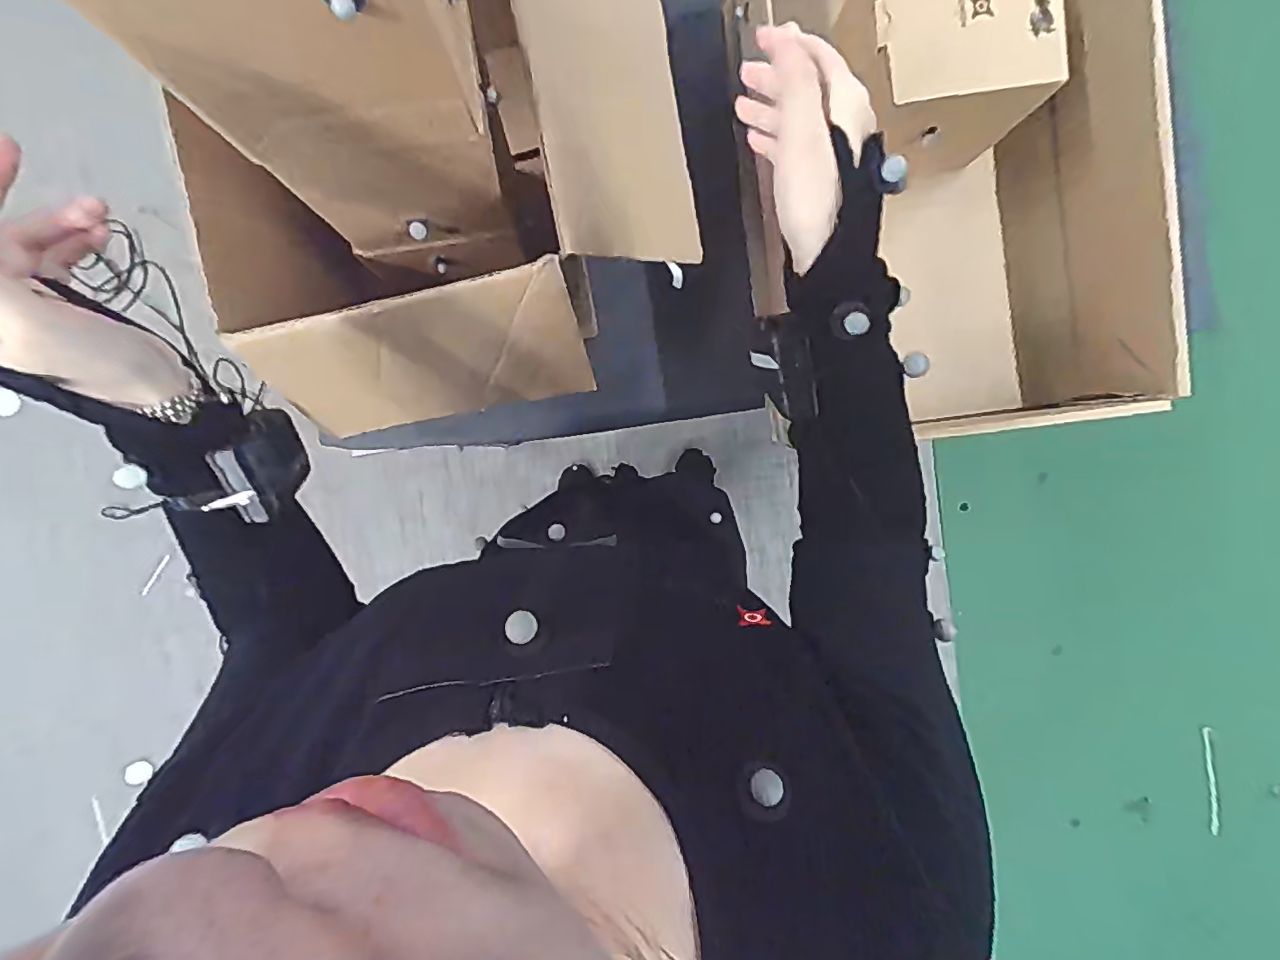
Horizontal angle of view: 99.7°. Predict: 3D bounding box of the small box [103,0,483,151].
[{"bbox_3d":[-0.212,-0.332,0.332,0.179,0.176,0.168,-8,92,-4],"label":"small box"}]
